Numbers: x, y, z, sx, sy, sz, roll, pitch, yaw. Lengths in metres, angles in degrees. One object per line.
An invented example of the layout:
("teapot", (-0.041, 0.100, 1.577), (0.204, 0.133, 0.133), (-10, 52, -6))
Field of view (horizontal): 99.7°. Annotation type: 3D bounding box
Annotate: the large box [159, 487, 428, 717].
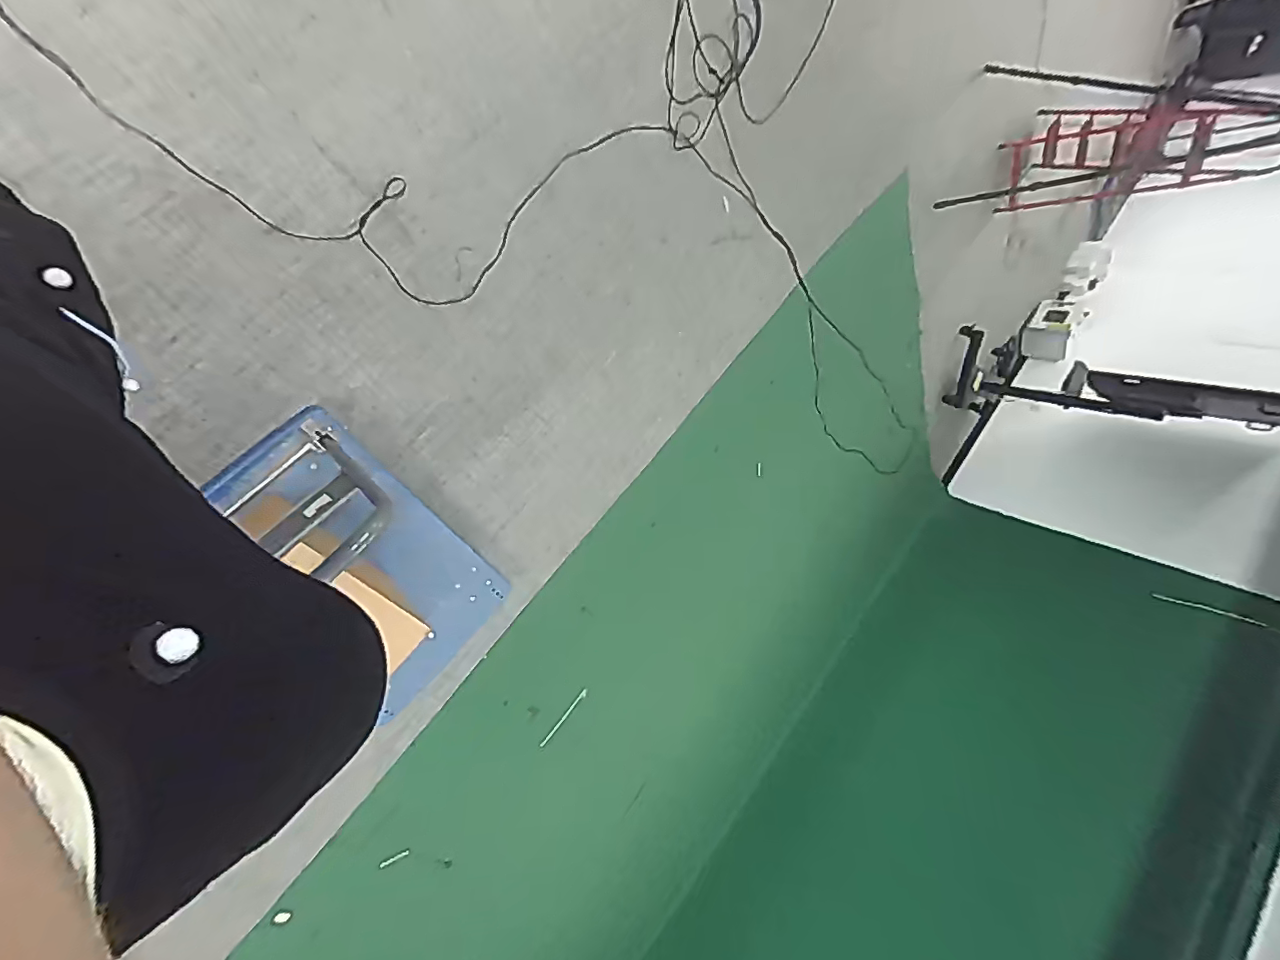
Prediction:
("large box", (-0.806, 0.284, 1.283), (0.320, 0.320, 0.408), (-48, 135, -16))
